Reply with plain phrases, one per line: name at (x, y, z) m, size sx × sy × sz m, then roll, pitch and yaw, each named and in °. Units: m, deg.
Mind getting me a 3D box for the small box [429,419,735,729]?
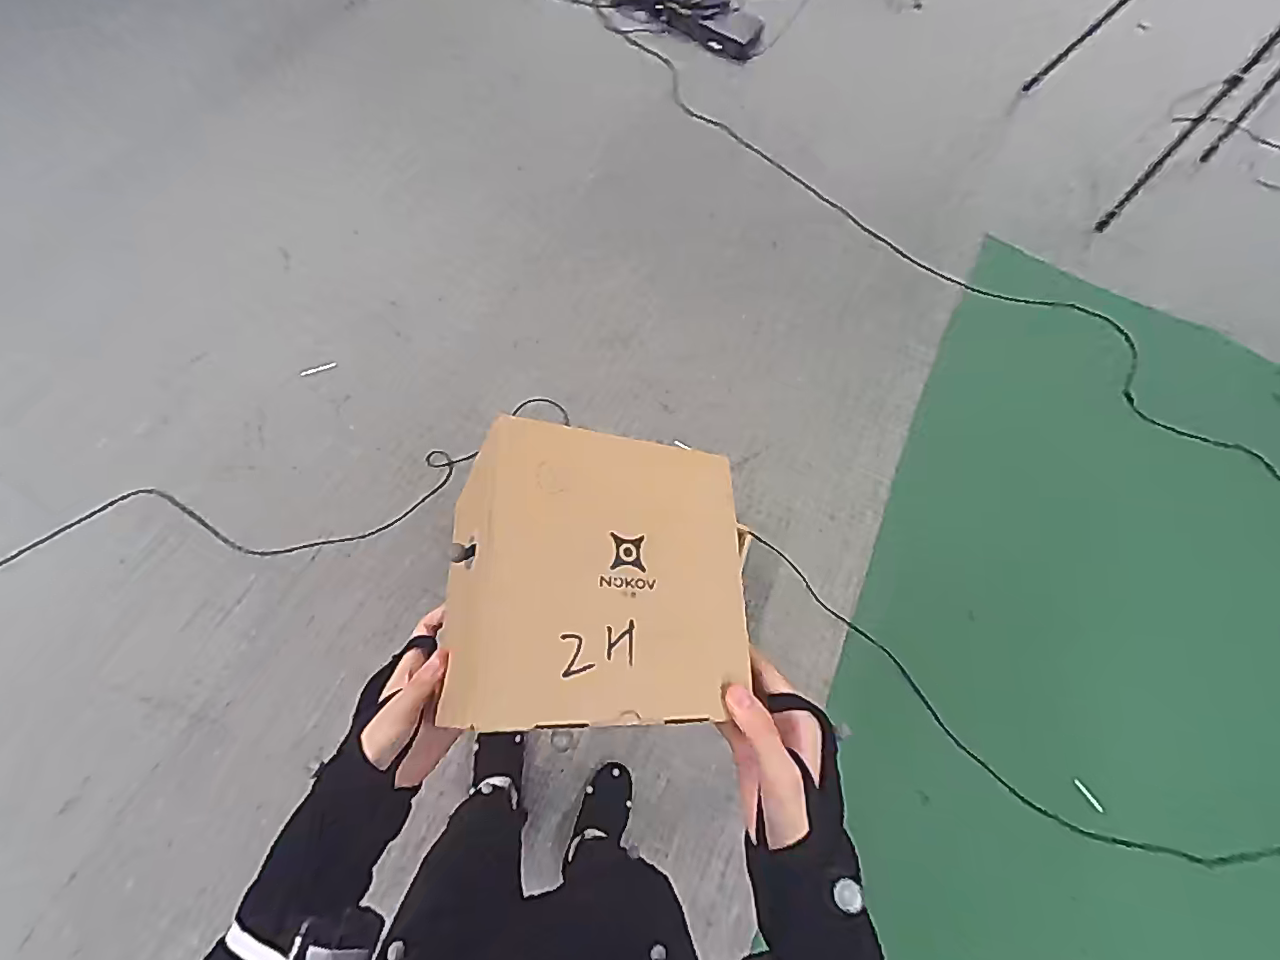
small box at (-0.053, 0.082, 0.393) m, size 0.168 × 0.176 × 0.179 m, roll 8°, pitch 66°, yaw -23°
